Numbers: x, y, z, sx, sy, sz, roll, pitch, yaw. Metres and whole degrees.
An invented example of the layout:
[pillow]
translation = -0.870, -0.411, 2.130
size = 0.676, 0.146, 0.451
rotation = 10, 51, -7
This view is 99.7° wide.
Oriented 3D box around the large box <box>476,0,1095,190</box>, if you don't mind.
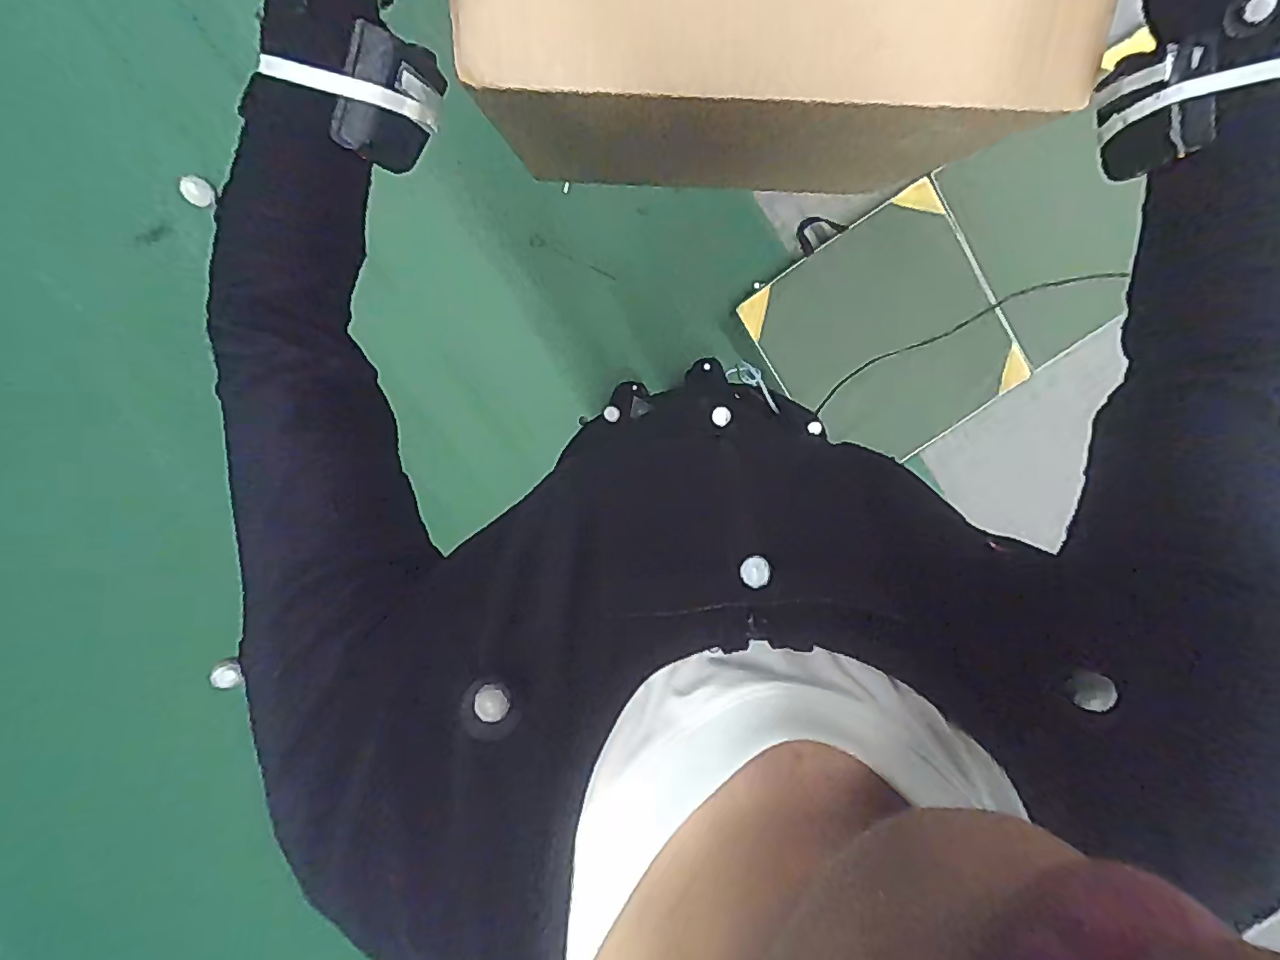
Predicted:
[large box]
translation = 0.088, -0.443, 0.449
size = 0.408, 0.320, 0.320
rotation = 0, 109, -4
